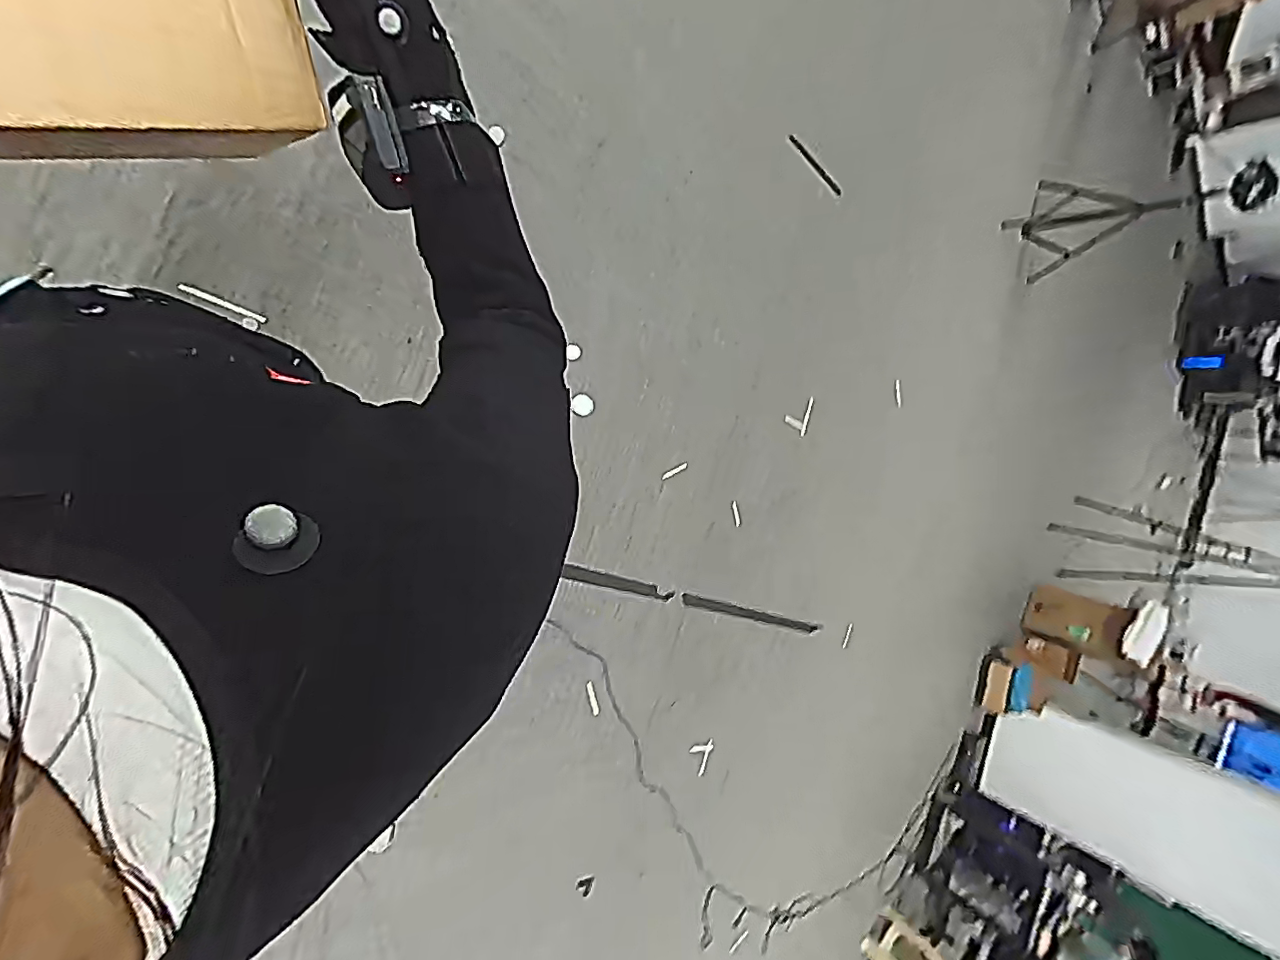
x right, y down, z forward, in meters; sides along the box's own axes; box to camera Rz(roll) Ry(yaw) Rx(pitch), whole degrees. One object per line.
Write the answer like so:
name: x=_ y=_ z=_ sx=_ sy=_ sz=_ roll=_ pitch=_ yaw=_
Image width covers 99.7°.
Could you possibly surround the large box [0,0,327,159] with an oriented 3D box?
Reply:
large box: x=-0.471 y=-0.363 z=0.299 sx=0.408 sy=0.320 sz=0.320 roll=-24 pitch=127 yaw=-33
